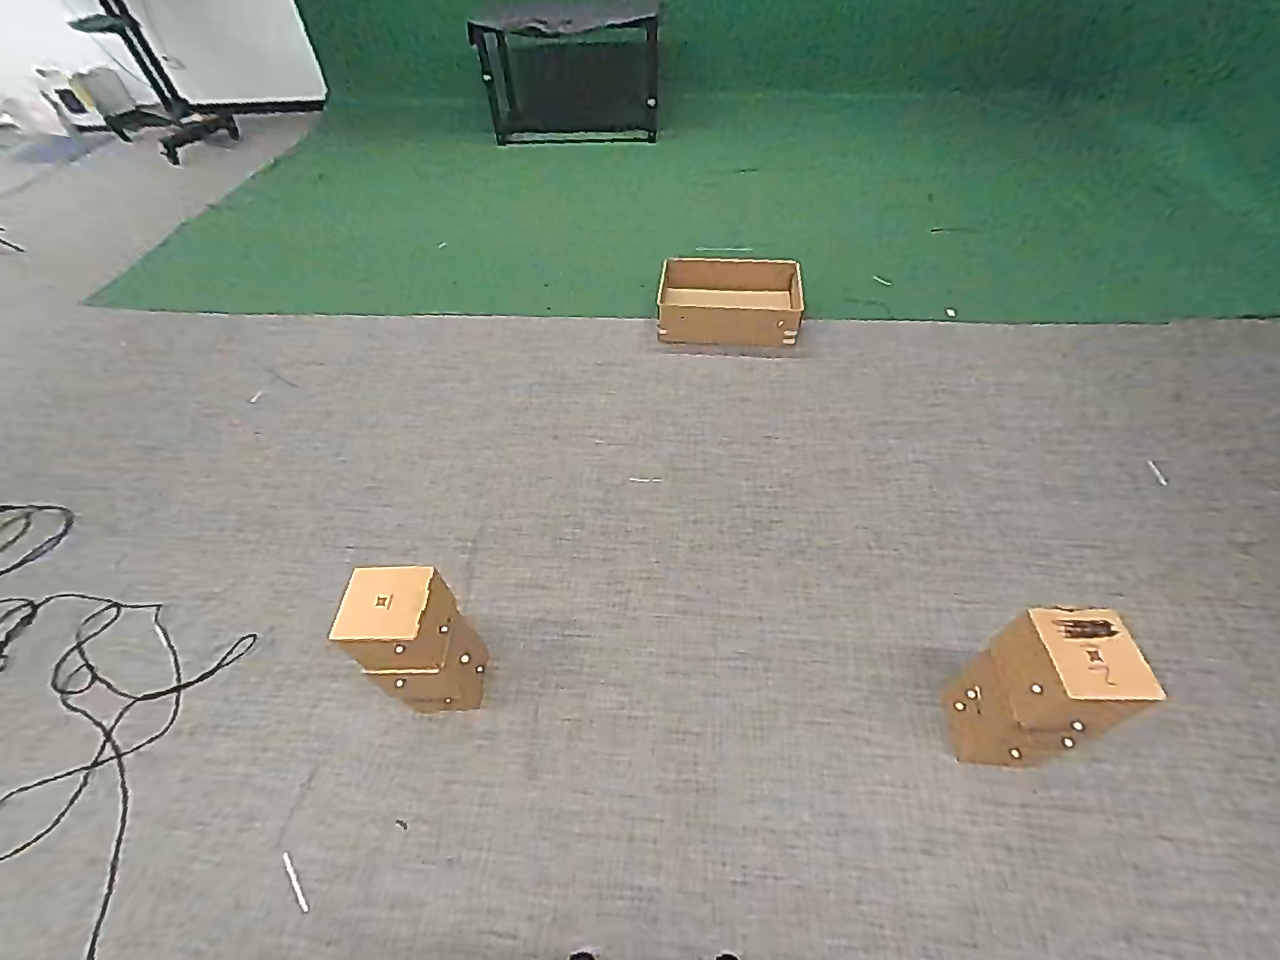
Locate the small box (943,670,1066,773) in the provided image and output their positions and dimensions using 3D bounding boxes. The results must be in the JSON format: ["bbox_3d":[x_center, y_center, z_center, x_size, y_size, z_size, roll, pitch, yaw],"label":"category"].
[{"bbox_3d":[0.857,0.579,1.296,0.168,0.176,0.179,3,50,6],"label":"small box"}]

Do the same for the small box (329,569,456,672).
[{"bbox_3d":[-0.523,0.307,1.170,0.179,0.176,0.168,-1,50,1],"label":"small box"}]

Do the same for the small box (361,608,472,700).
[{"bbox_3d":[-0.522,0.416,1.290,0.179,0.176,0.168,0,50,1],"label":"small box"}]

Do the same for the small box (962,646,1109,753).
[{"bbox_3d":[0.840,0.479,1.169,0.179,0.176,0.168,2,49,6],"label":"small box"}]

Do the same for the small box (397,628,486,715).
[{"bbox_3d":[-0.518,0.507,1.427,0.179,0.176,0.168,-4,49,0],"label":"small box"}]
